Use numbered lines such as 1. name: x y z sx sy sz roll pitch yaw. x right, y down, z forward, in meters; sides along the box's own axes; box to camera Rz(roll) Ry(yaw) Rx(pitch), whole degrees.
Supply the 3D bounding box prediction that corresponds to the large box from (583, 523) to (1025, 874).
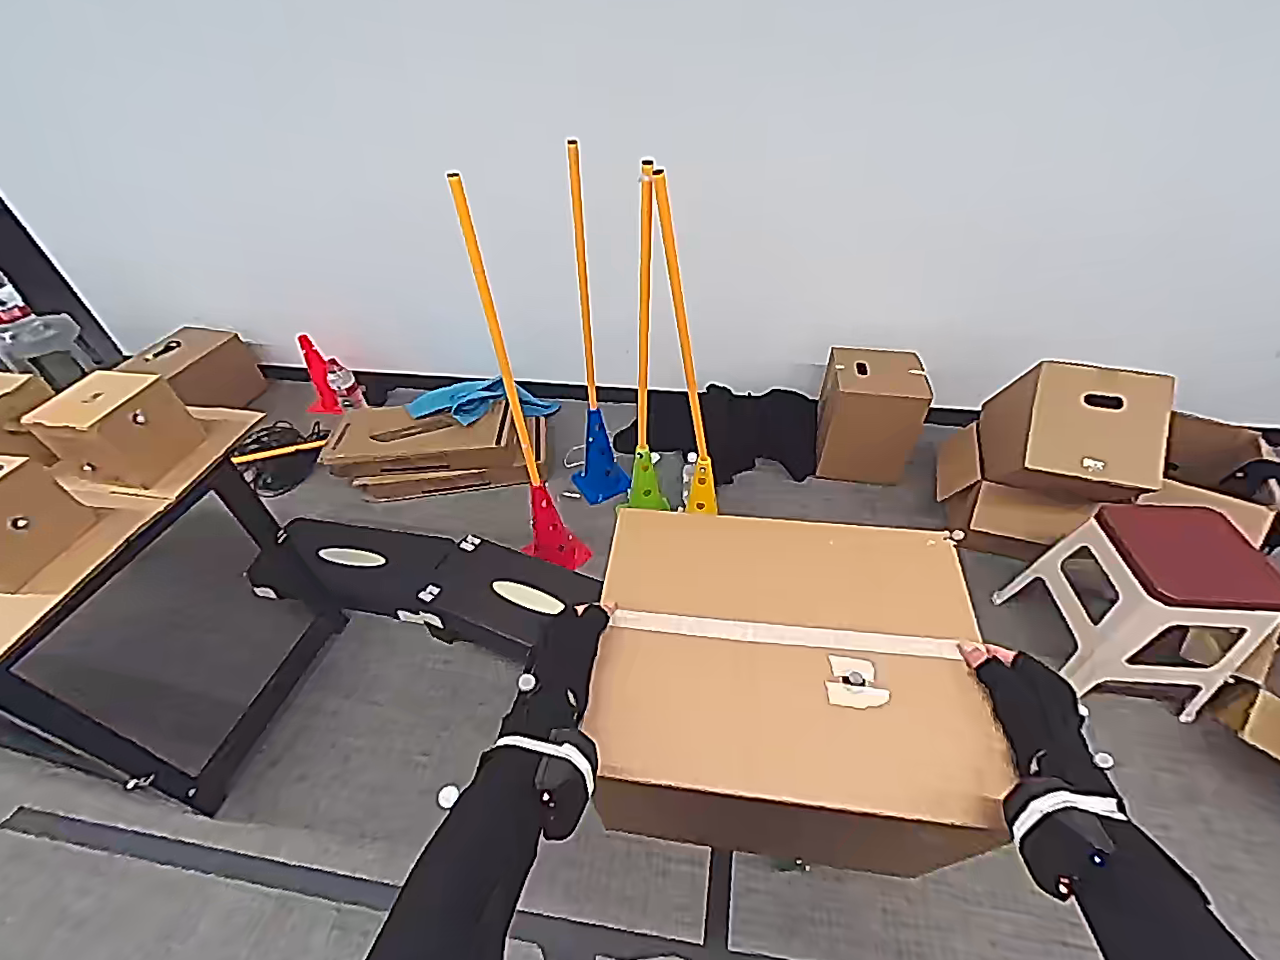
1. large box: 0.163 0.278 0.698 0.408 0.320 0.320 4 49 7
